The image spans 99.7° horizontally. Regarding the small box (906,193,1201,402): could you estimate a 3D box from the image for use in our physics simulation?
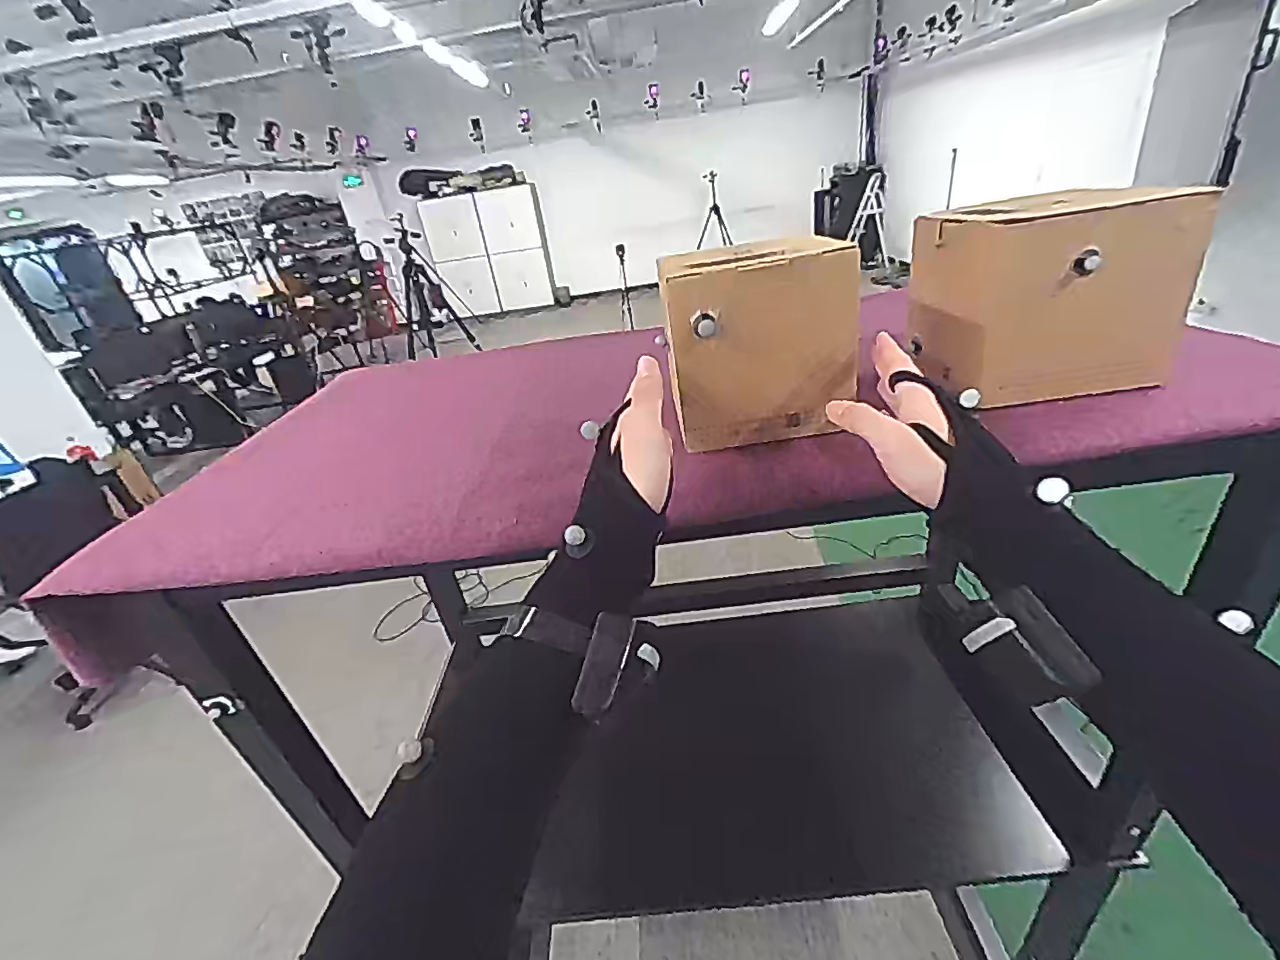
[{"bbox_3d":[0.394,-0.188,0.559,0.179,0.176,0.168,-7,28,3],"label":"small box"}]
